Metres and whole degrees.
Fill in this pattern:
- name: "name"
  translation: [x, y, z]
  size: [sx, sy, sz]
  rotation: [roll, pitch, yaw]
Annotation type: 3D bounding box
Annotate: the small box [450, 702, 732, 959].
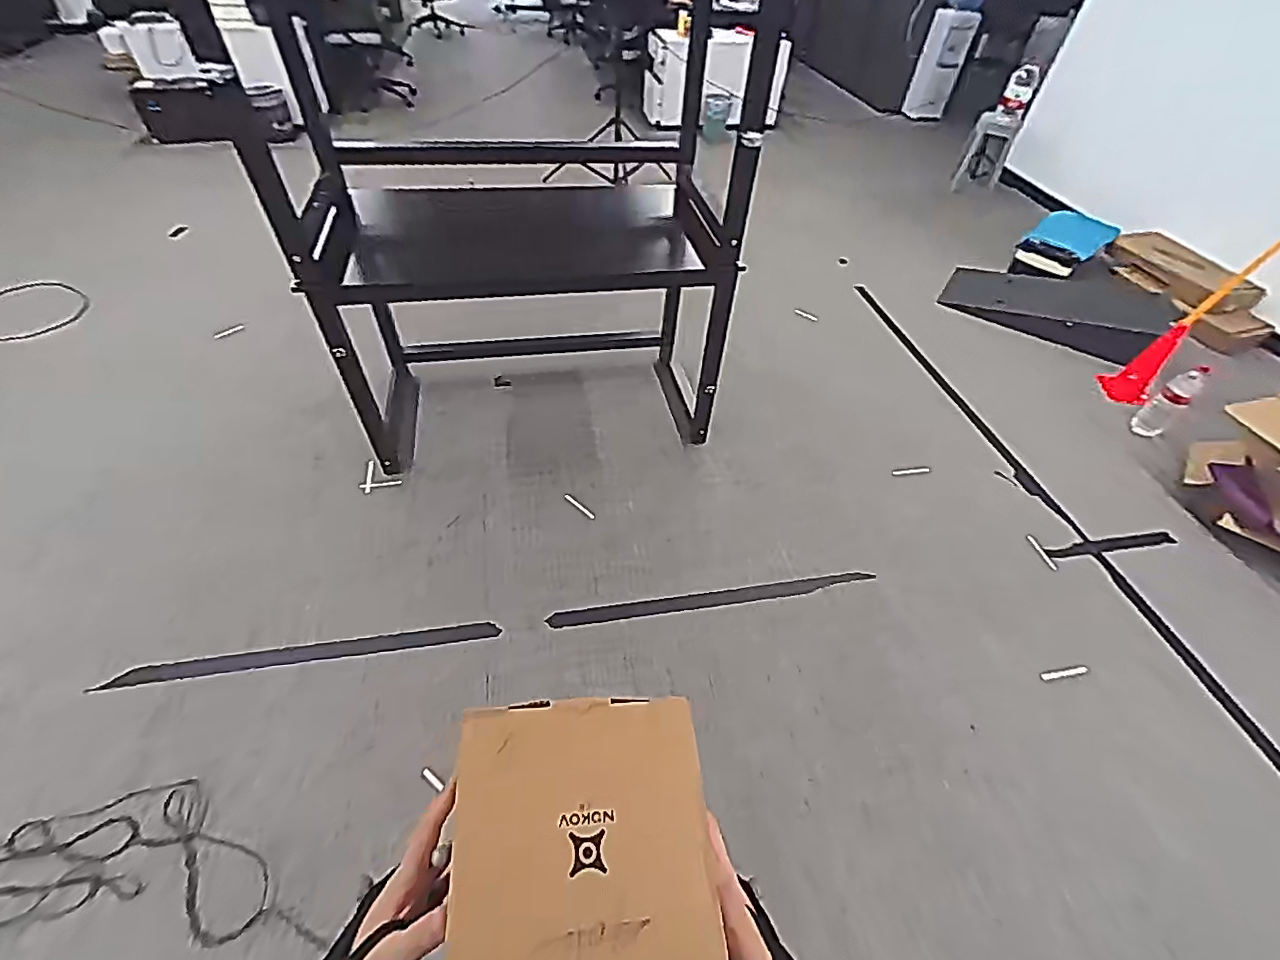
- name: "small box"
  translation: [-0.046, 0.279, 0.402]
  size: [0.168, 0.176, 0.179]
  rotation: [3, 54, -13]
